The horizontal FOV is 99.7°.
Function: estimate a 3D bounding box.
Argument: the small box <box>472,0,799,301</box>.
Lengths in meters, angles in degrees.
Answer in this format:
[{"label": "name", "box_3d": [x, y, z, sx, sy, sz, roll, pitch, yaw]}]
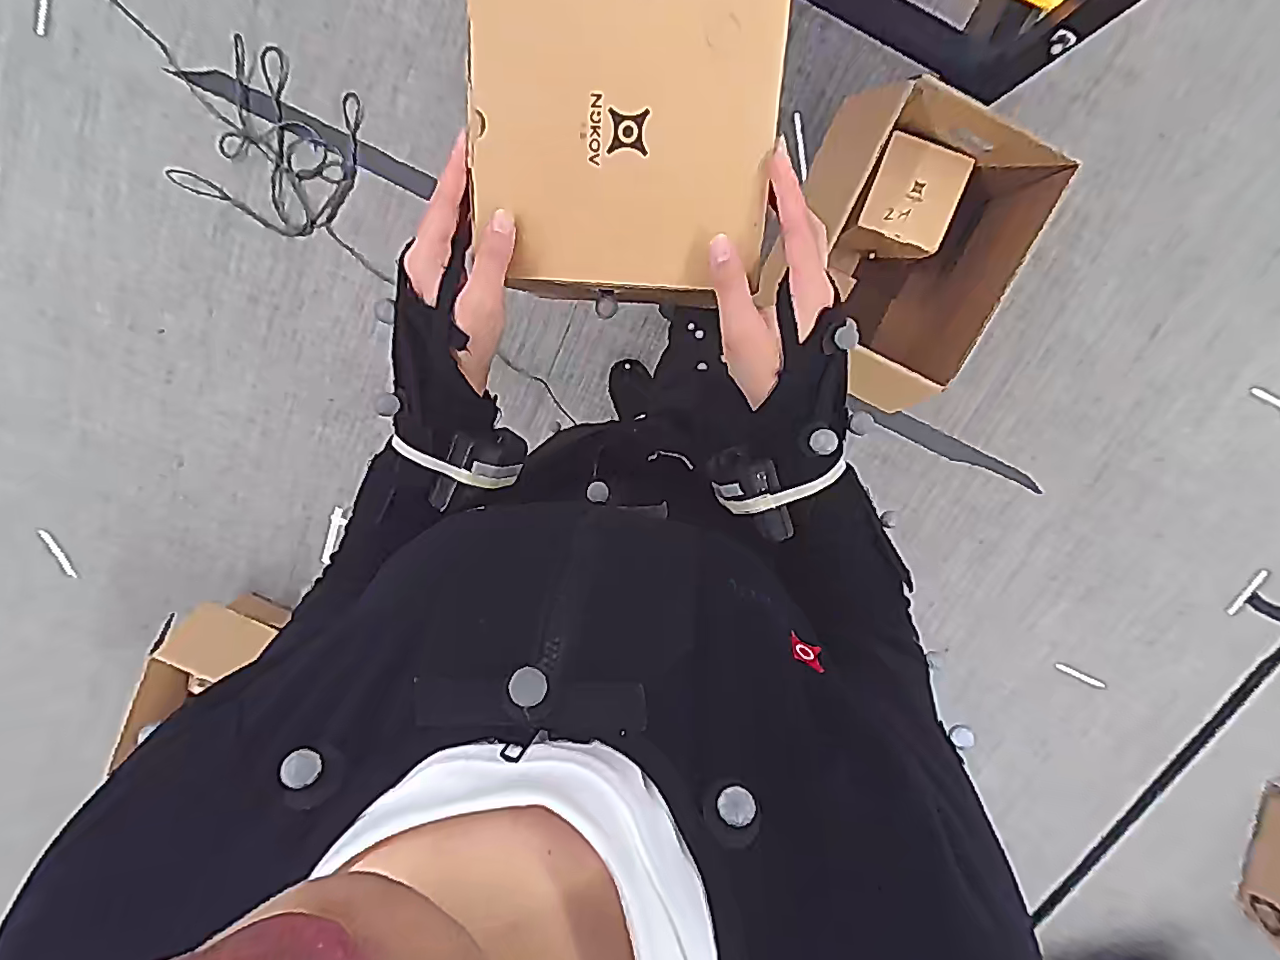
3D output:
[{"label": "small box", "box_3d": [-0.003, -0.219, 0.379, 0.179, 0.176, 0.168, 4, 105, 3]}]
